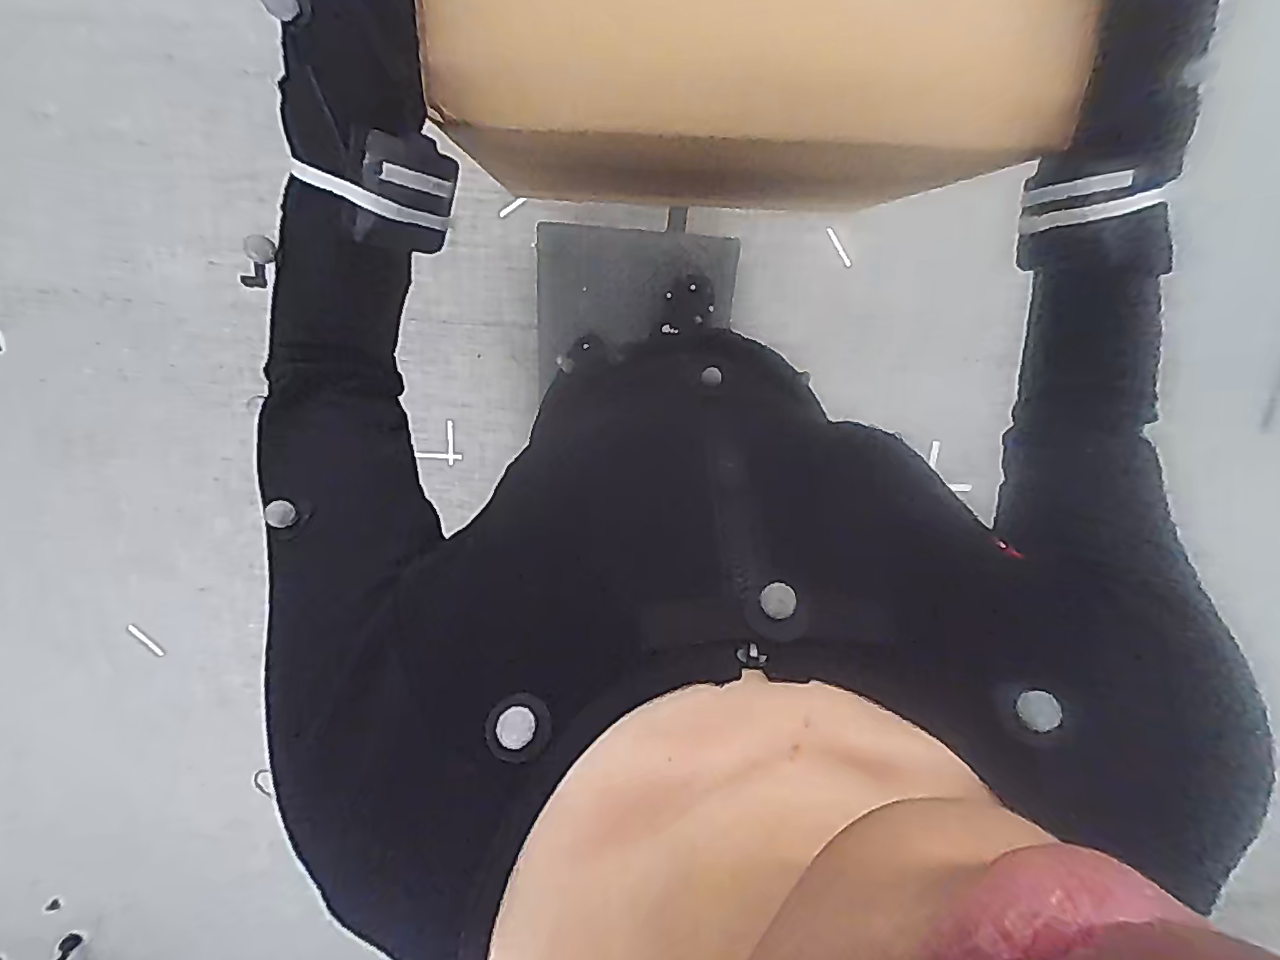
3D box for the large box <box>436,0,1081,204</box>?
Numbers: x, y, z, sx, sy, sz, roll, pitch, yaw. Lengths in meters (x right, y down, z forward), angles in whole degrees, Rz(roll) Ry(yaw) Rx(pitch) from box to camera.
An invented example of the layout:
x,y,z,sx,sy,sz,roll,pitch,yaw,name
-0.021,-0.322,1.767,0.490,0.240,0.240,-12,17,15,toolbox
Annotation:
x,y,z,sx,sy,sz,roll,pitch,yaw,name
0.065,-0.418,0.438,0.408,0.320,0.320,-1,110,-4,large box
